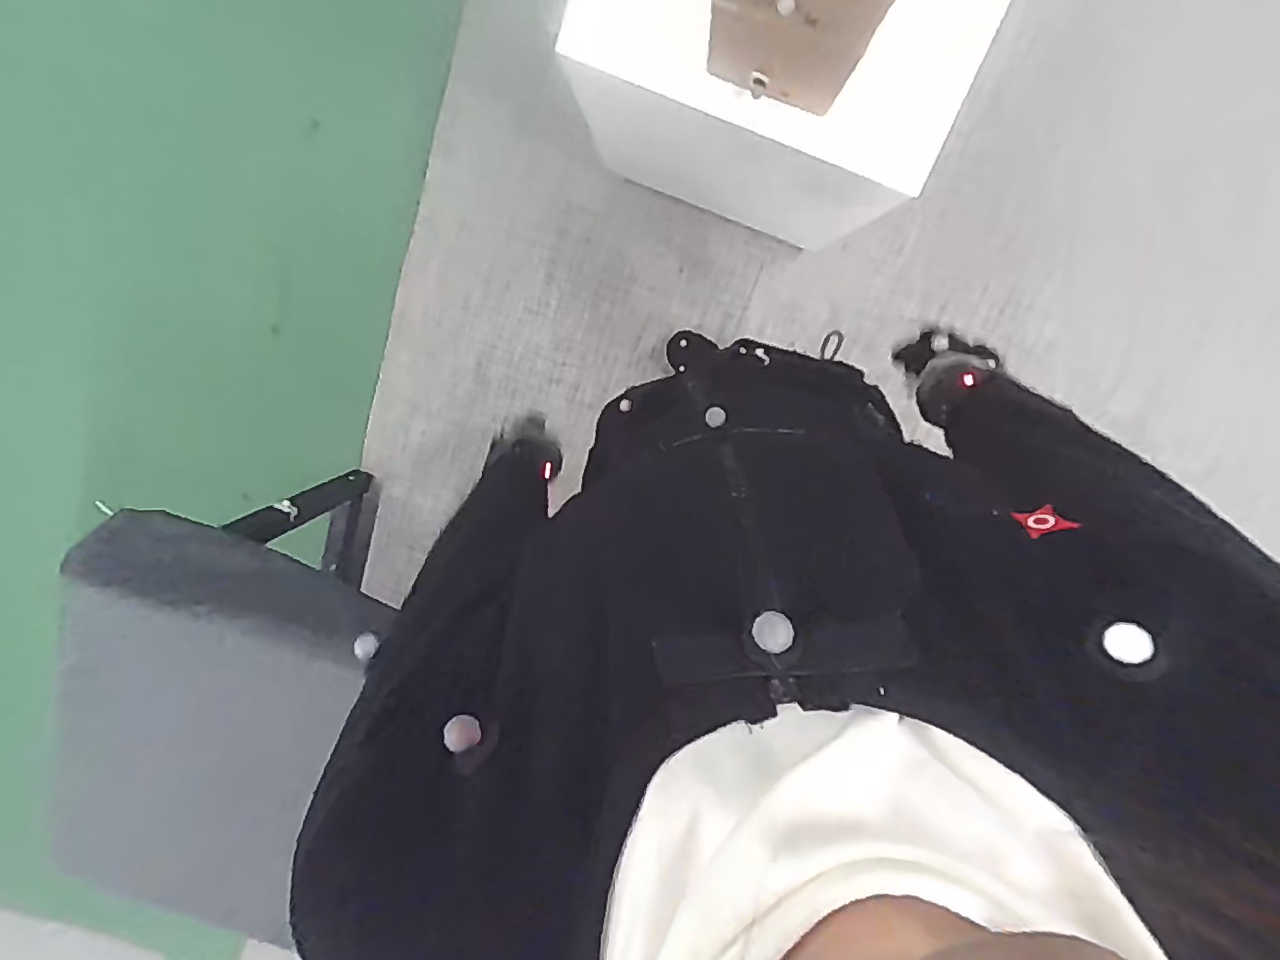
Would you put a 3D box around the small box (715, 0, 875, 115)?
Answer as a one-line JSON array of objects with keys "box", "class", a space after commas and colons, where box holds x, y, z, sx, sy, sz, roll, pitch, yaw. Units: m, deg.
[{"box": [0.183, -0.542, 0.584, 0.168, 0.176, 0.179, 20, 107, 1], "class": "small box"}]

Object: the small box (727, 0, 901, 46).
[{"box": [0.167, -0.503, 0.426, 0.168, 0.176, 0.179, 18, 104, 1], "class": "small box"}]
